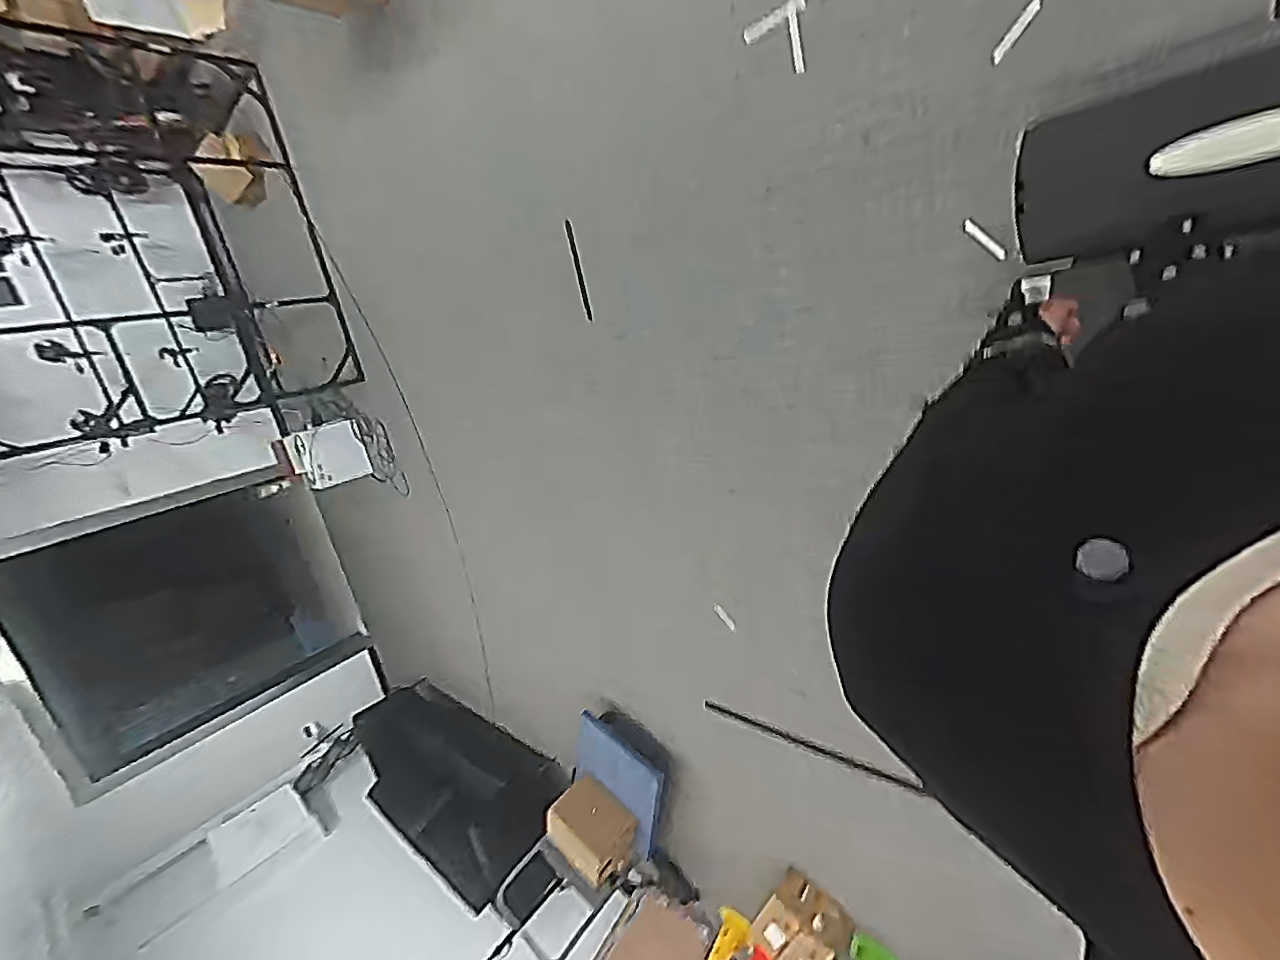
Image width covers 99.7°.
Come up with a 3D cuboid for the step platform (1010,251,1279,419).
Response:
[{"bbox_3d":[1.090,-0.266,0.988,0.684,0.204,0.286,10,115,43],"label":"step platform"}]
